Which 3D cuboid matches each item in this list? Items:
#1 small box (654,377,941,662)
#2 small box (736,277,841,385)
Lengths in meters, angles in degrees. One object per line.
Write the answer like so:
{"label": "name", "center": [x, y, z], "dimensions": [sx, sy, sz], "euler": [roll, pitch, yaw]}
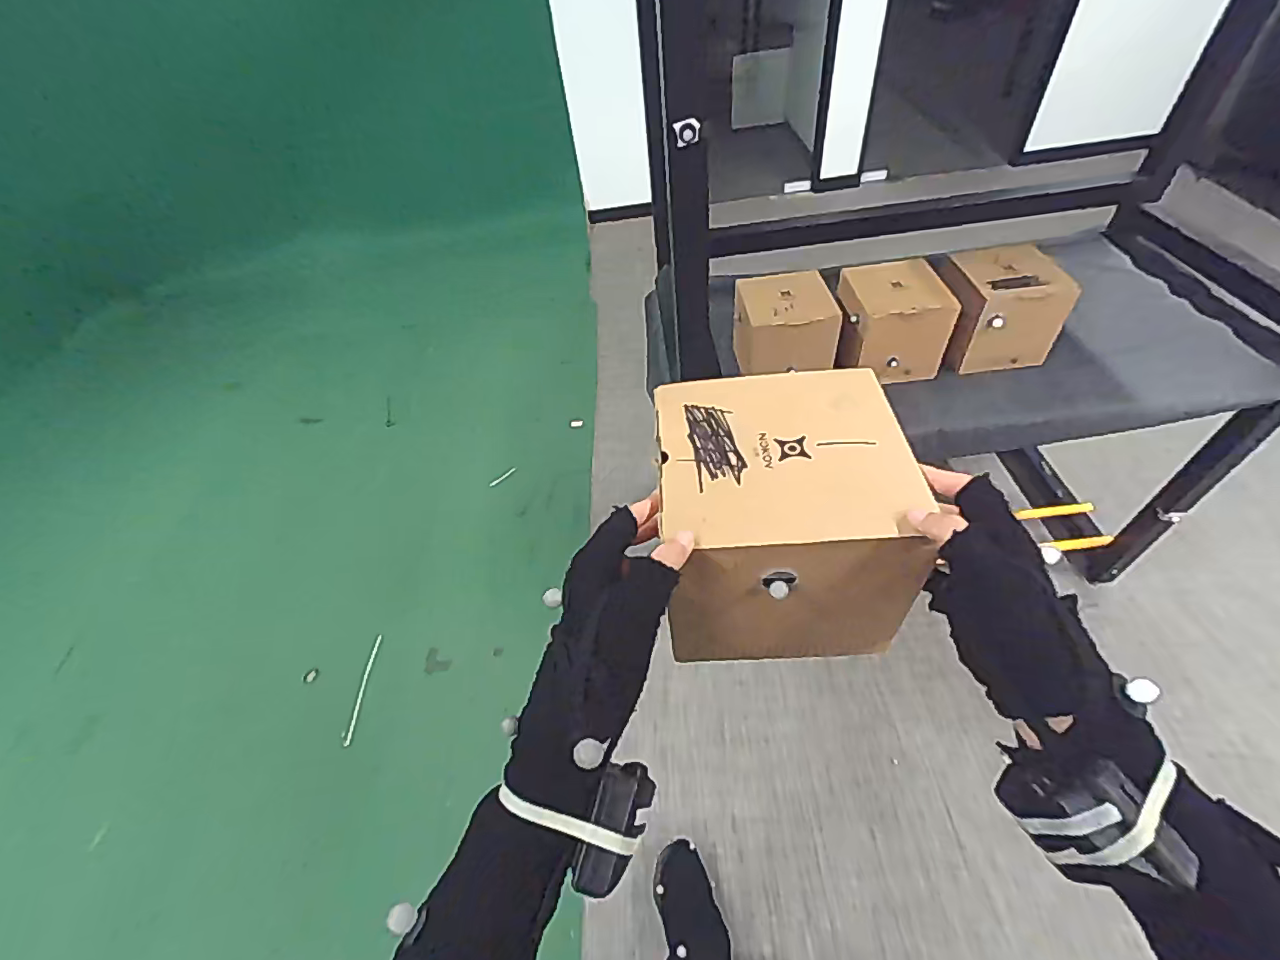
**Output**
{"label": "small box", "center": [0.106, 0.037, 0.444], "dimensions": [0.179, 0.176, 0.168], "euler": [-4, 48, 4]}
{"label": "small box", "center": [0.290, -0.285, 1.098], "dimensions": [0.168, 0.176, 0.179], "euler": [-7, 48, 3]}
